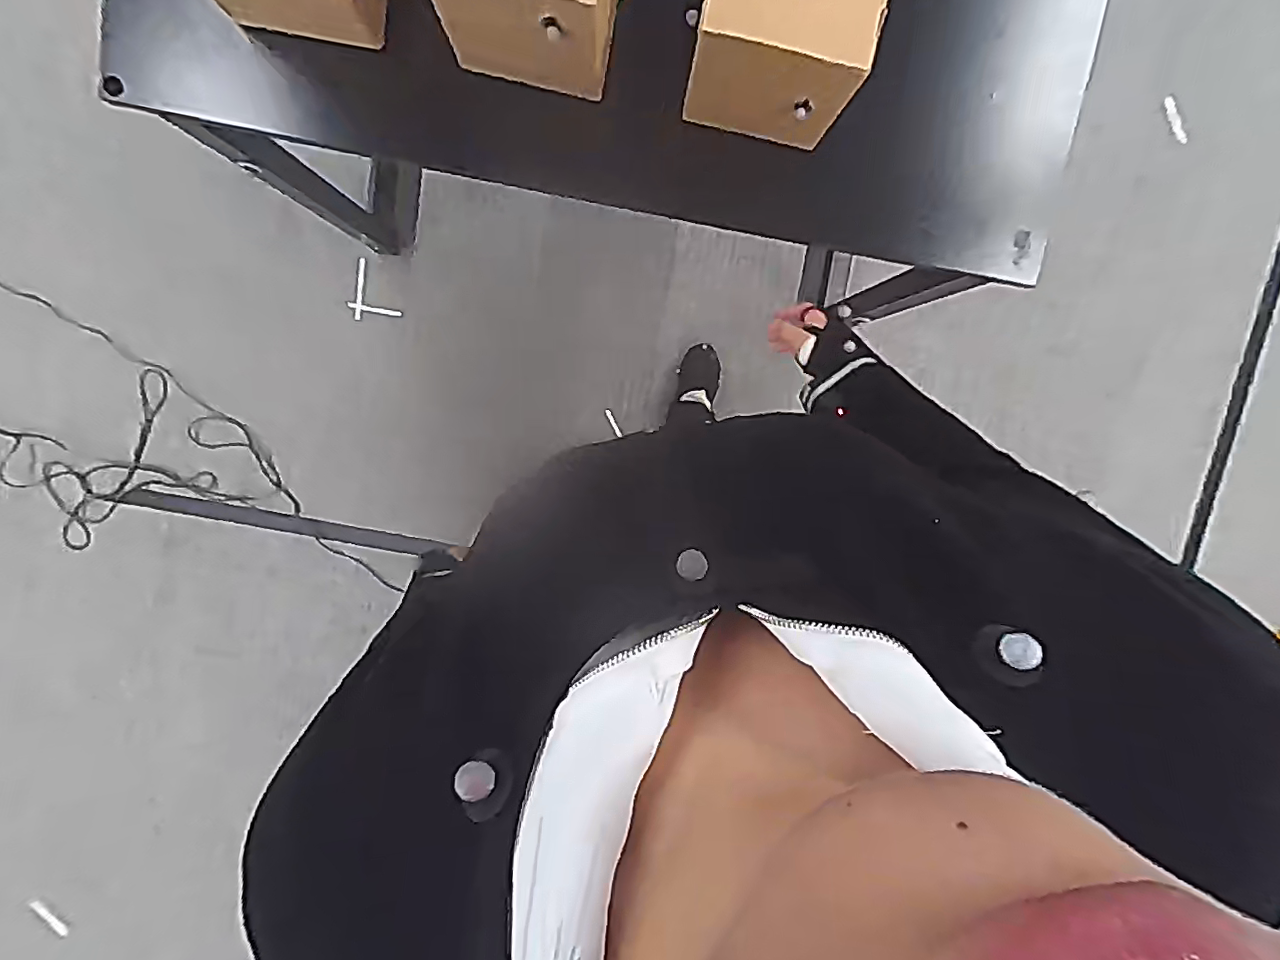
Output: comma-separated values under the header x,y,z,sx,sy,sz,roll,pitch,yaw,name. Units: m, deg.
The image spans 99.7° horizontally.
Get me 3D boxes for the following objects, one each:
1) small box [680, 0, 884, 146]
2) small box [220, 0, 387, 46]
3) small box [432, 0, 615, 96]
x,y,z,sx,sy,sz,roll,pitch,yaw,name
0.153,-0.507,0.604,0.179,0.176,0.168,9,95,-4,small box
-0.384,-0.602,0.565,0.179,0.176,0.168,7,98,-3,small box
-0.116,-0.558,0.583,0.179,0.176,0.168,11,97,-4,small box
